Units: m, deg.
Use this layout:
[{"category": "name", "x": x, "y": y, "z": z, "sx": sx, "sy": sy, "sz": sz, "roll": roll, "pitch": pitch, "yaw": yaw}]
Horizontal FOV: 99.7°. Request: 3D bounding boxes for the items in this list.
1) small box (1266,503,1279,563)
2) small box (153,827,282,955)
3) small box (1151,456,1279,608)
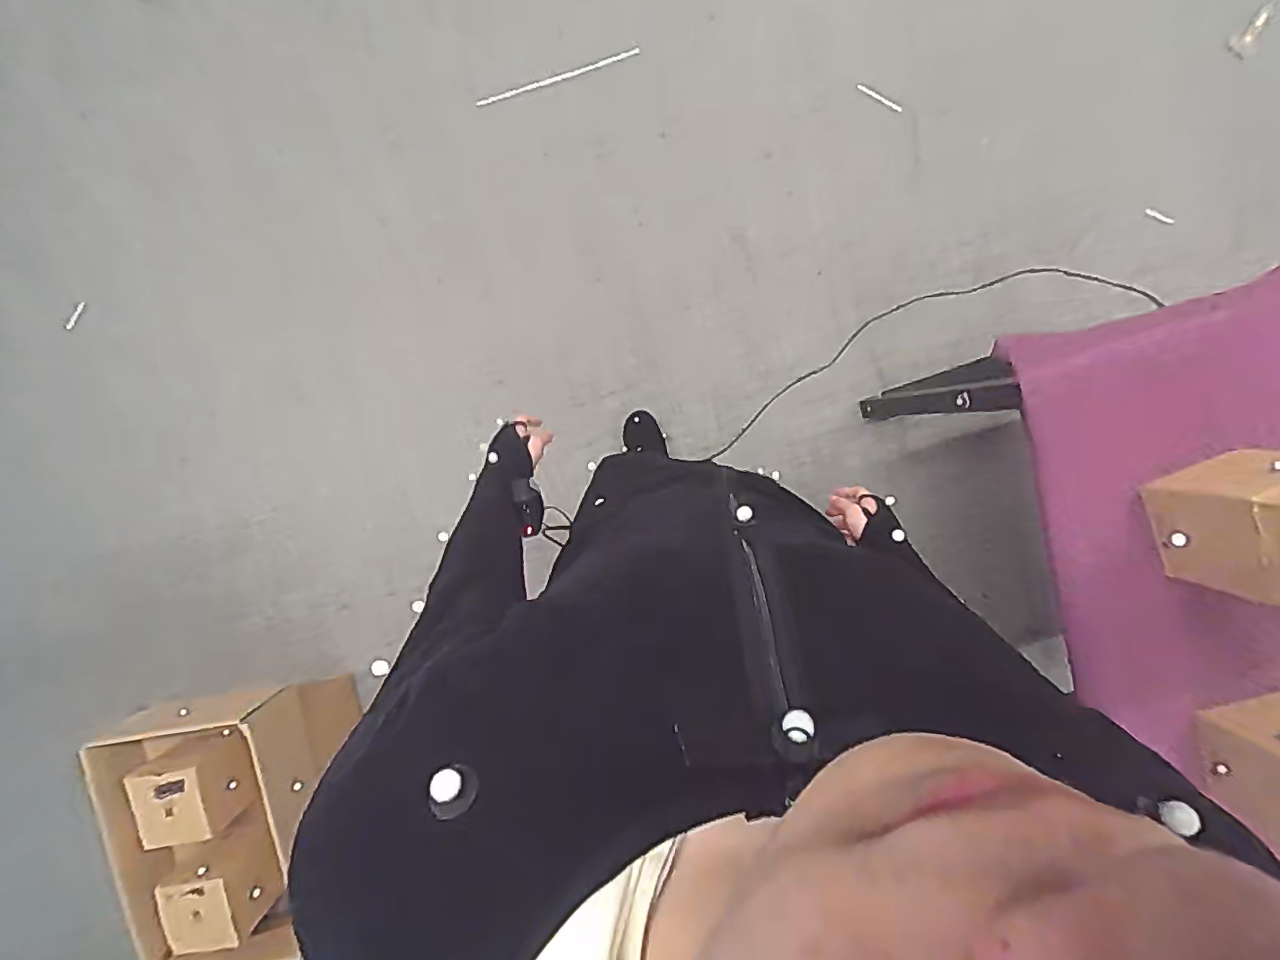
[{"category": "small box", "x": 0.945, "y": 0.084, "z": 0.649, "sx": 0.179, "sy": 0.176, "sz": 0.168, "roll": -23, "pitch": 95, "yaw": 3}, {"category": "small box", "x": -1.008, "y": 0.987, "z": 1.309, "sx": 0.168, "sy": 0.176, "sz": 0.179, "roll": -9, "pitch": 96, "yaw": 2}, {"category": "small box", "x": 0.942, "y": 0.068, "z": 0.811, "sx": 0.179, "sy": 0.176, "sz": 0.168, "roll": -21, "pitch": 94, "yaw": 2}]
